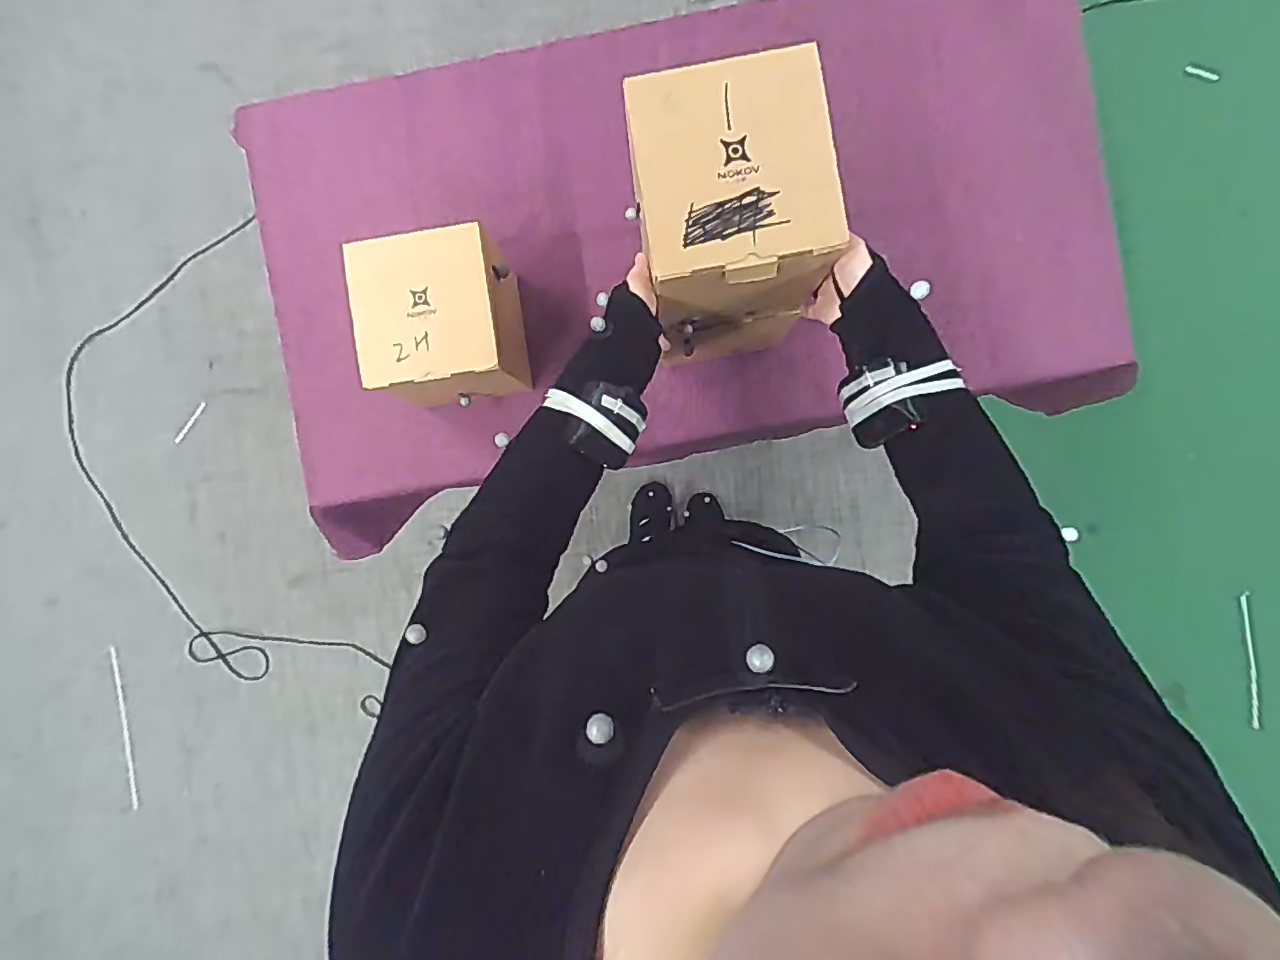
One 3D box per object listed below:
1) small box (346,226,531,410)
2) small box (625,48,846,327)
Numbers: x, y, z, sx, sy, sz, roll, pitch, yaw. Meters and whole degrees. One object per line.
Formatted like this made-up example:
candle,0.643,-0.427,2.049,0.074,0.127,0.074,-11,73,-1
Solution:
small box,-0.251,-0.199,0.709,0.168,0.176,0.179,-8,89,2
small box,0.083,-0.262,0.532,0.168,0.176,0.179,-9,87,2
